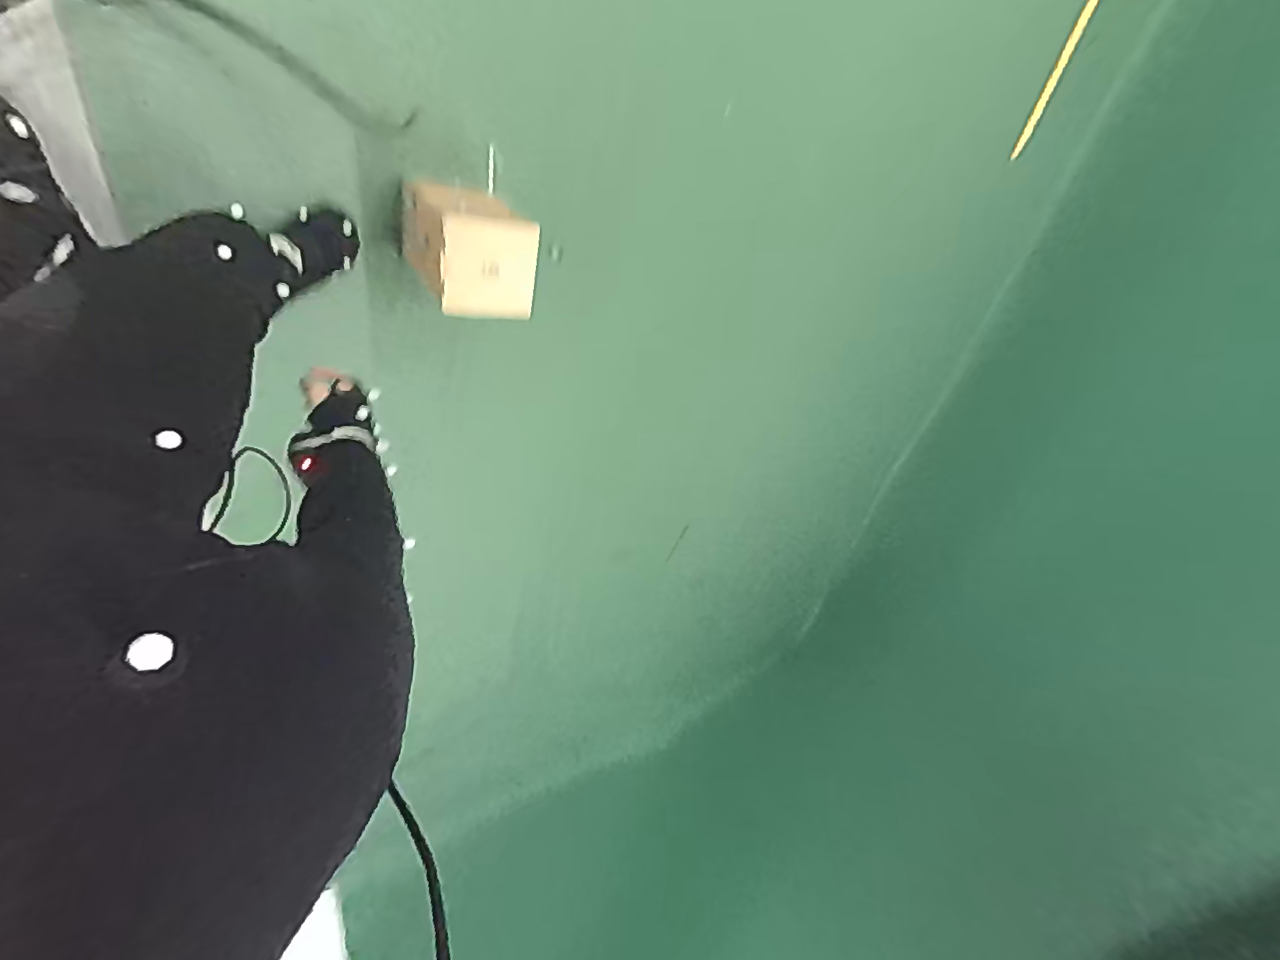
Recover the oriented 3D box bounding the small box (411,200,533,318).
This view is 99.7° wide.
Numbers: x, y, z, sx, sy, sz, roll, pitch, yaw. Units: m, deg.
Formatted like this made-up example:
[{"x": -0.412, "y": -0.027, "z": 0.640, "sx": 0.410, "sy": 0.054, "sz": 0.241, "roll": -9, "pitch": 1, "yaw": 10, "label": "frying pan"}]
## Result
[{"x": -0.329, "y": -0.426, "z": 1.046, "sx": 0.179, "sy": 0.176, "sz": 0.168, "roll": -8, "pitch": 129, "yaw": -34, "label": "small box"}]
